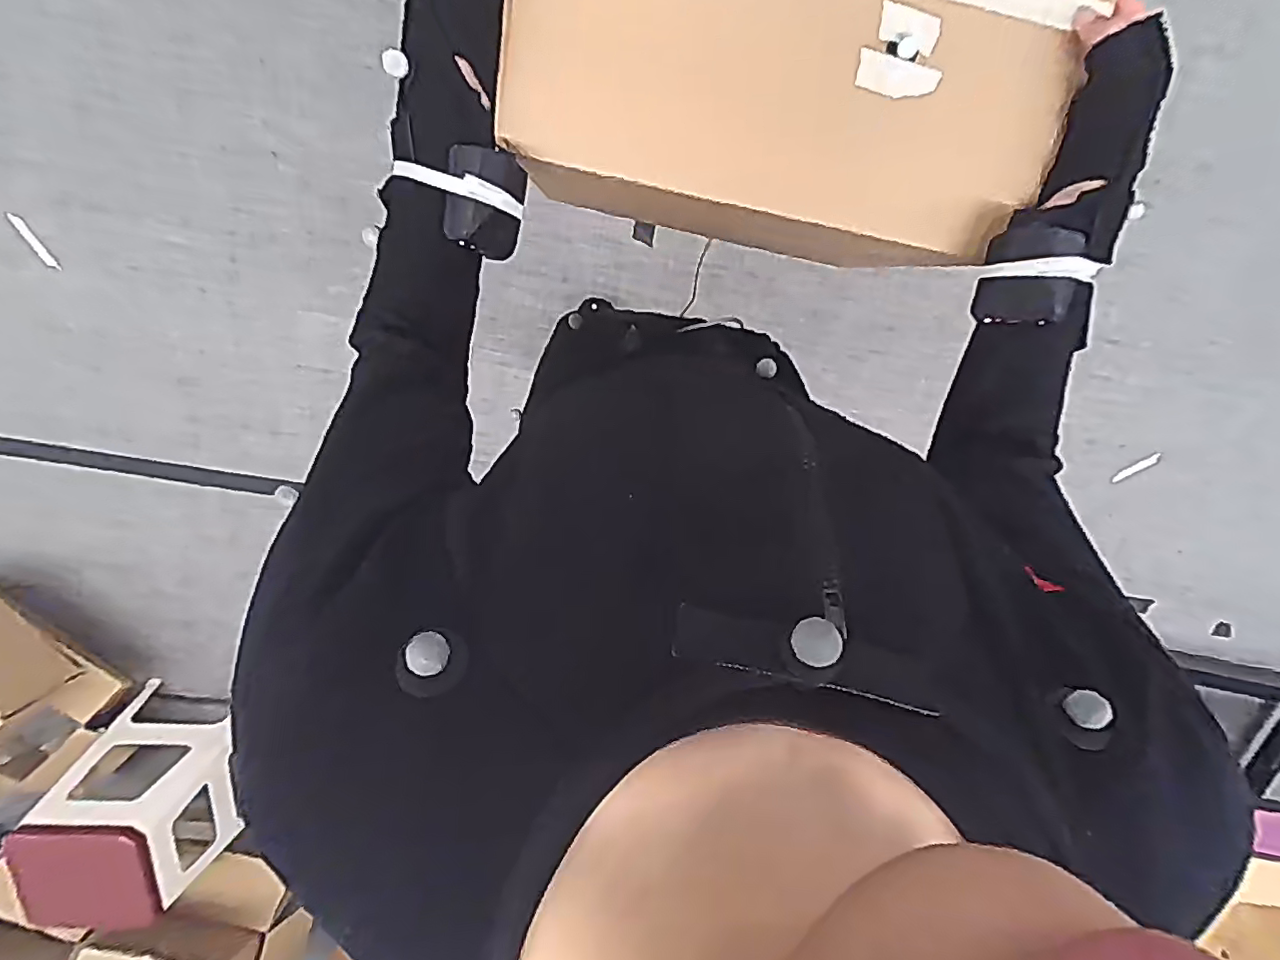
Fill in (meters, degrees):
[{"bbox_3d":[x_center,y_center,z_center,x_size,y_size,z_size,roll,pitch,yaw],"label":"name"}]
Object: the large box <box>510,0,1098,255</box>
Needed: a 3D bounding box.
[{"bbox_3d":[0.115,-0.410,0.500,0.408,0.320,0.320,9,112,-7],"label":"large box"}]
